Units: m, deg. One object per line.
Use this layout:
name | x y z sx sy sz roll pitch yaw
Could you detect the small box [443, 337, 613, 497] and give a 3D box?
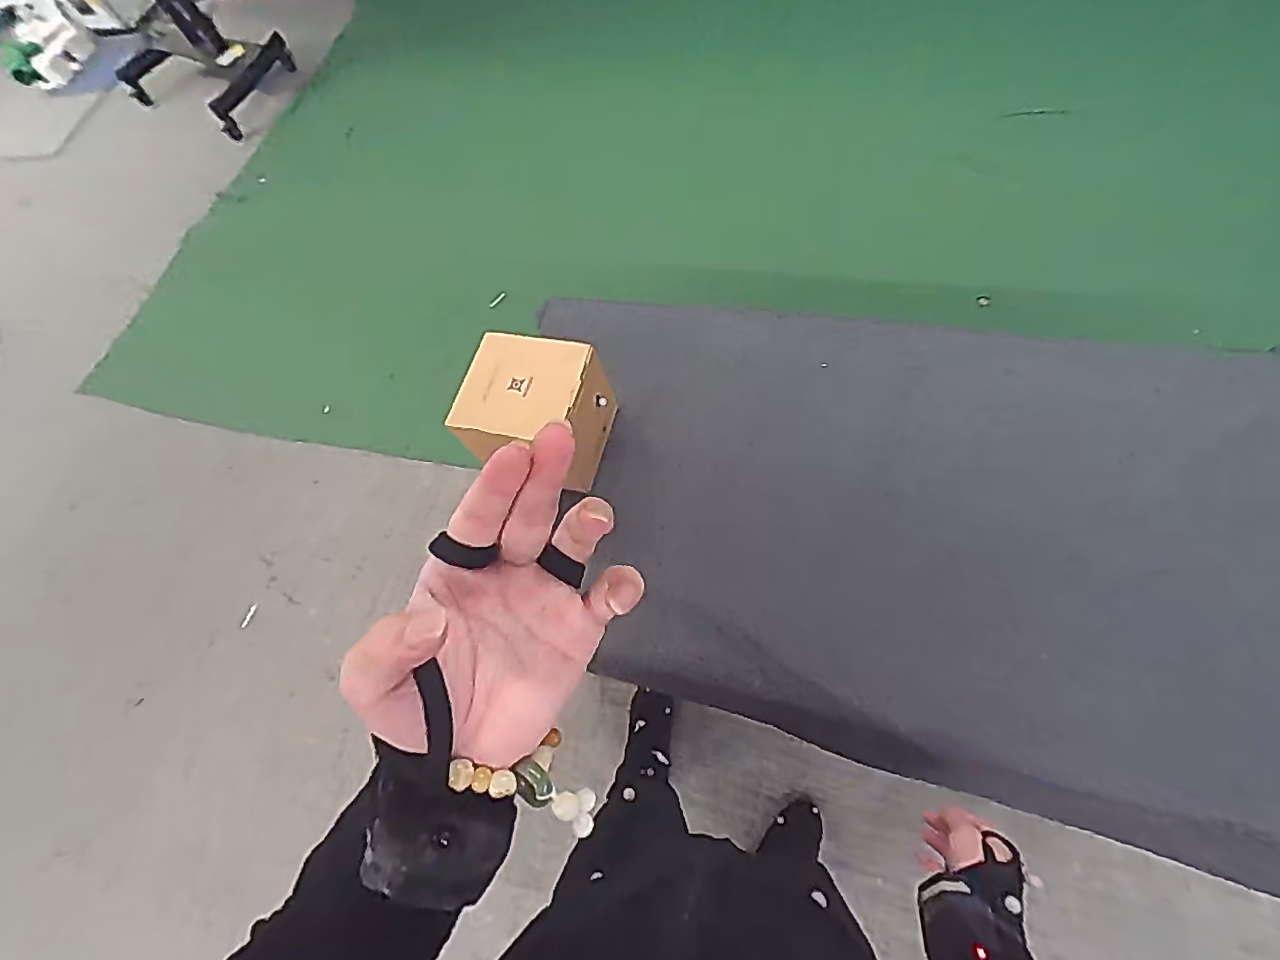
small box | -0.154 -0.089 0.821 0.179 0.176 0.168 12 67 16
